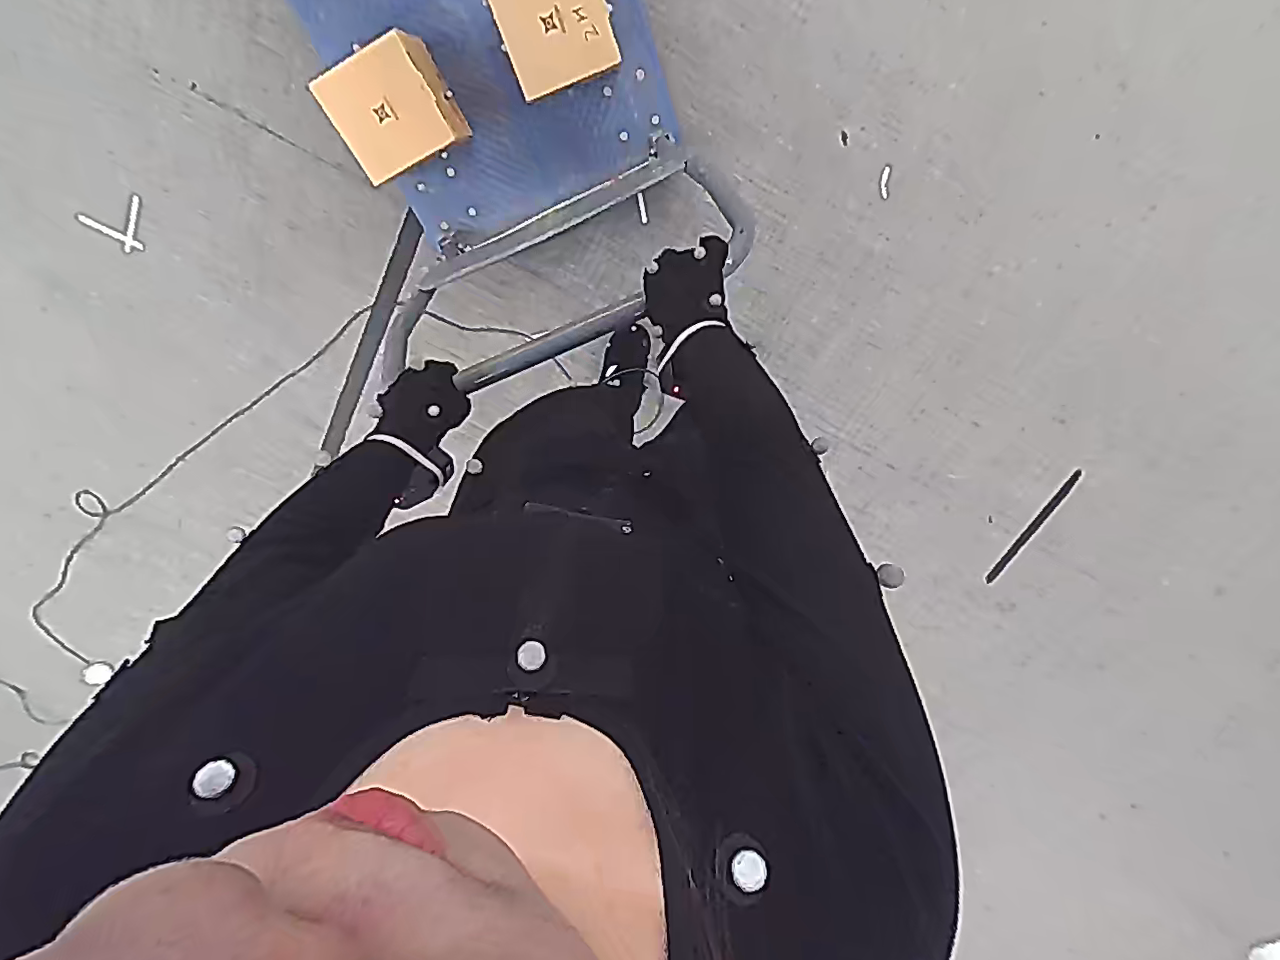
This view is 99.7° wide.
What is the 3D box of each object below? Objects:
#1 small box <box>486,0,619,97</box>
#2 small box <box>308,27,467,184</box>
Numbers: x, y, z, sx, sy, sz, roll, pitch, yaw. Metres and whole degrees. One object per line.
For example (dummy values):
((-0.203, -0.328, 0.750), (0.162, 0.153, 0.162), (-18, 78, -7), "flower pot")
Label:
((-0.145, -0.775, 0.919), (0.179, 0.176, 0.168), (-18, 124, 7), "small box")
((-0.436, -0.660, 0.969), (0.179, 0.176, 0.168), (-25, 123, 9), "small box")
